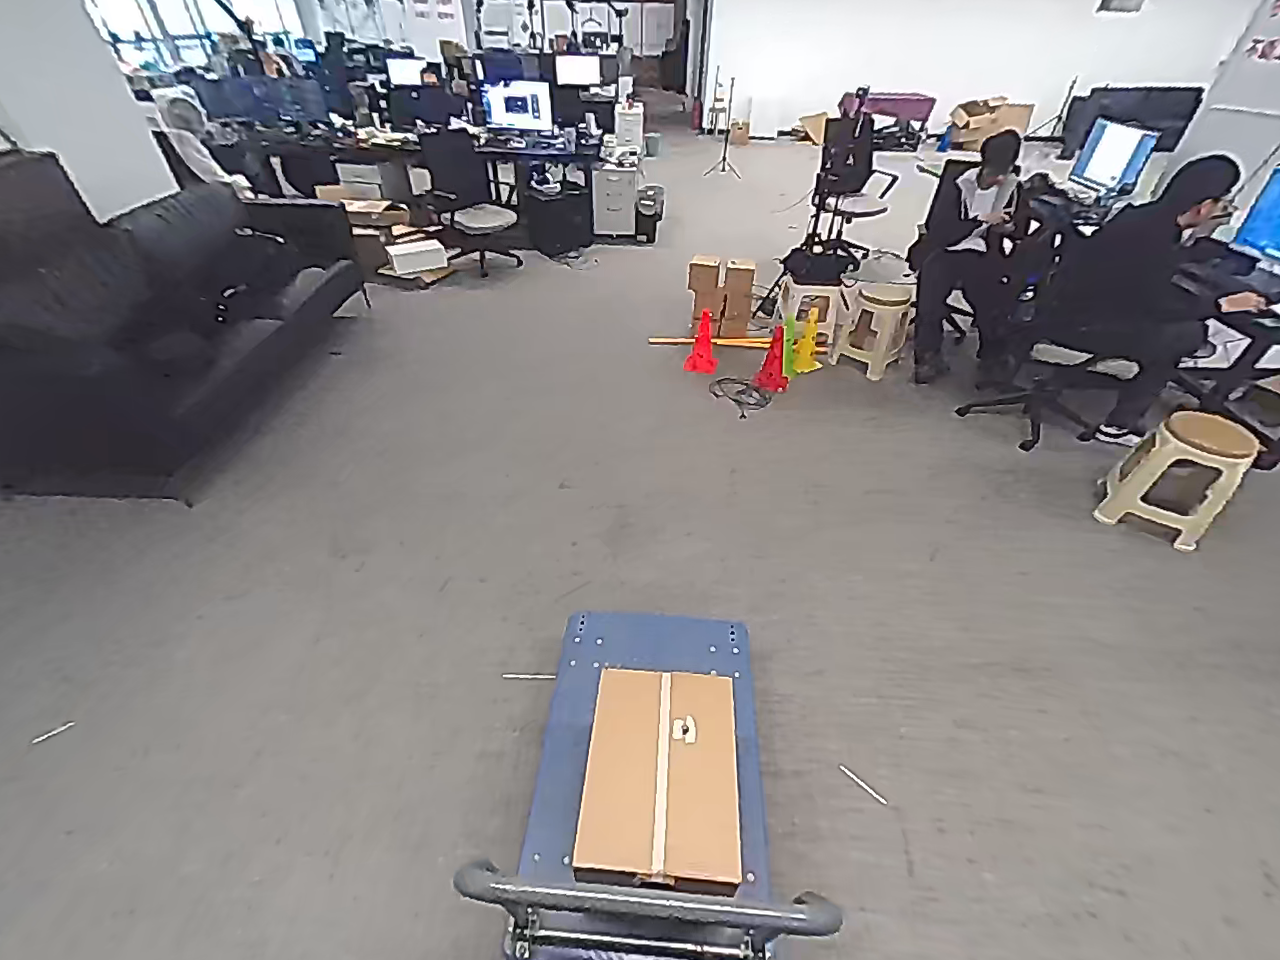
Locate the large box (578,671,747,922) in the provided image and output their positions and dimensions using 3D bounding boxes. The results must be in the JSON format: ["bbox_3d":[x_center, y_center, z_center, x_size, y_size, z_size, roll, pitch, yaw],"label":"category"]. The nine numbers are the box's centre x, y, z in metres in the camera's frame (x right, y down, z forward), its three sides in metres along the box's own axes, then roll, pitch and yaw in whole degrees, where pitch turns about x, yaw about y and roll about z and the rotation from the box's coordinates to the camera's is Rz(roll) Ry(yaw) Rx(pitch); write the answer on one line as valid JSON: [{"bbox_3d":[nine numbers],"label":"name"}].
[{"bbox_3d":[0.051,0.700,1.213,0.320,0.320,0.408,4,40,3],"label":"large box"}]
